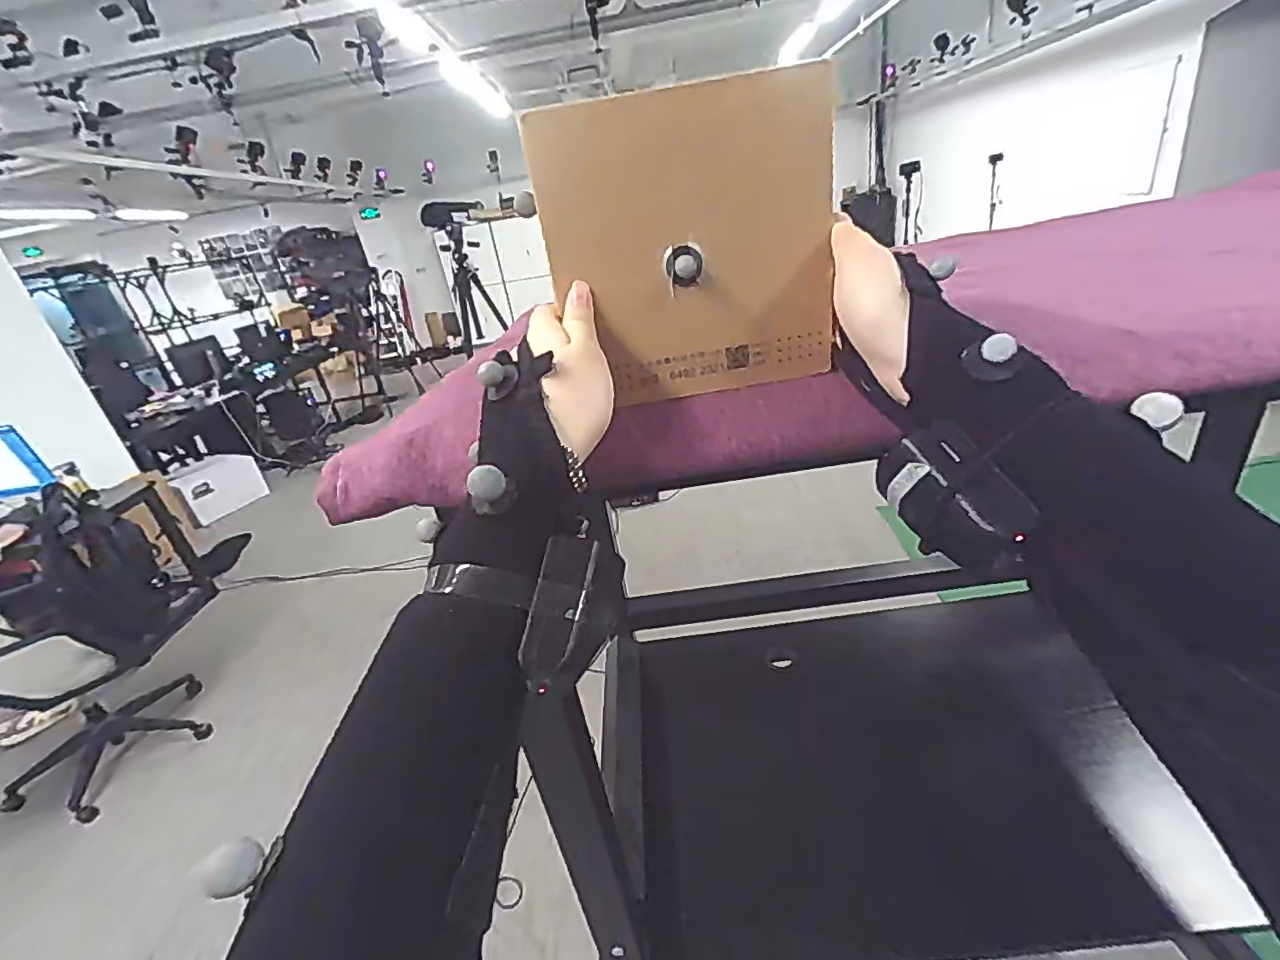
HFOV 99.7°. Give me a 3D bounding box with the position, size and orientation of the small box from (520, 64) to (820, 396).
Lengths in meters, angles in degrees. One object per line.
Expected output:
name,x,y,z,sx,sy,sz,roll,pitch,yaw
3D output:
small box,0.024,-0.166,0.392,0.168,0.176,0.179,-9,26,1
